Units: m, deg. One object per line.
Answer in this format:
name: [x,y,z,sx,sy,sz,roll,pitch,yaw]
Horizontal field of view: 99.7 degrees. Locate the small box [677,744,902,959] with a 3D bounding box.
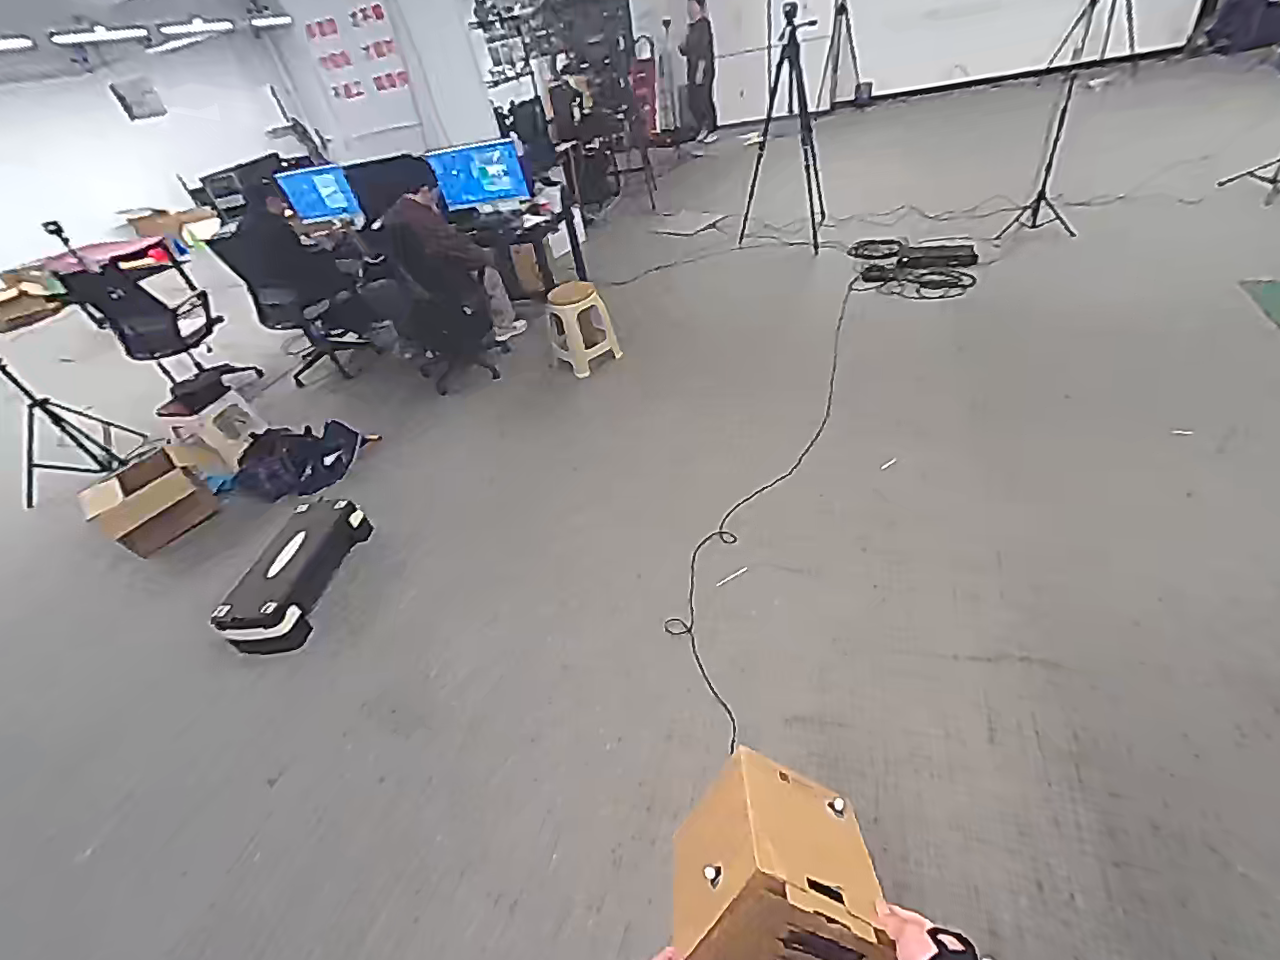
small box: [0.151,0.446,0.621,0.168,0.179,0.176,29,18,-6]
